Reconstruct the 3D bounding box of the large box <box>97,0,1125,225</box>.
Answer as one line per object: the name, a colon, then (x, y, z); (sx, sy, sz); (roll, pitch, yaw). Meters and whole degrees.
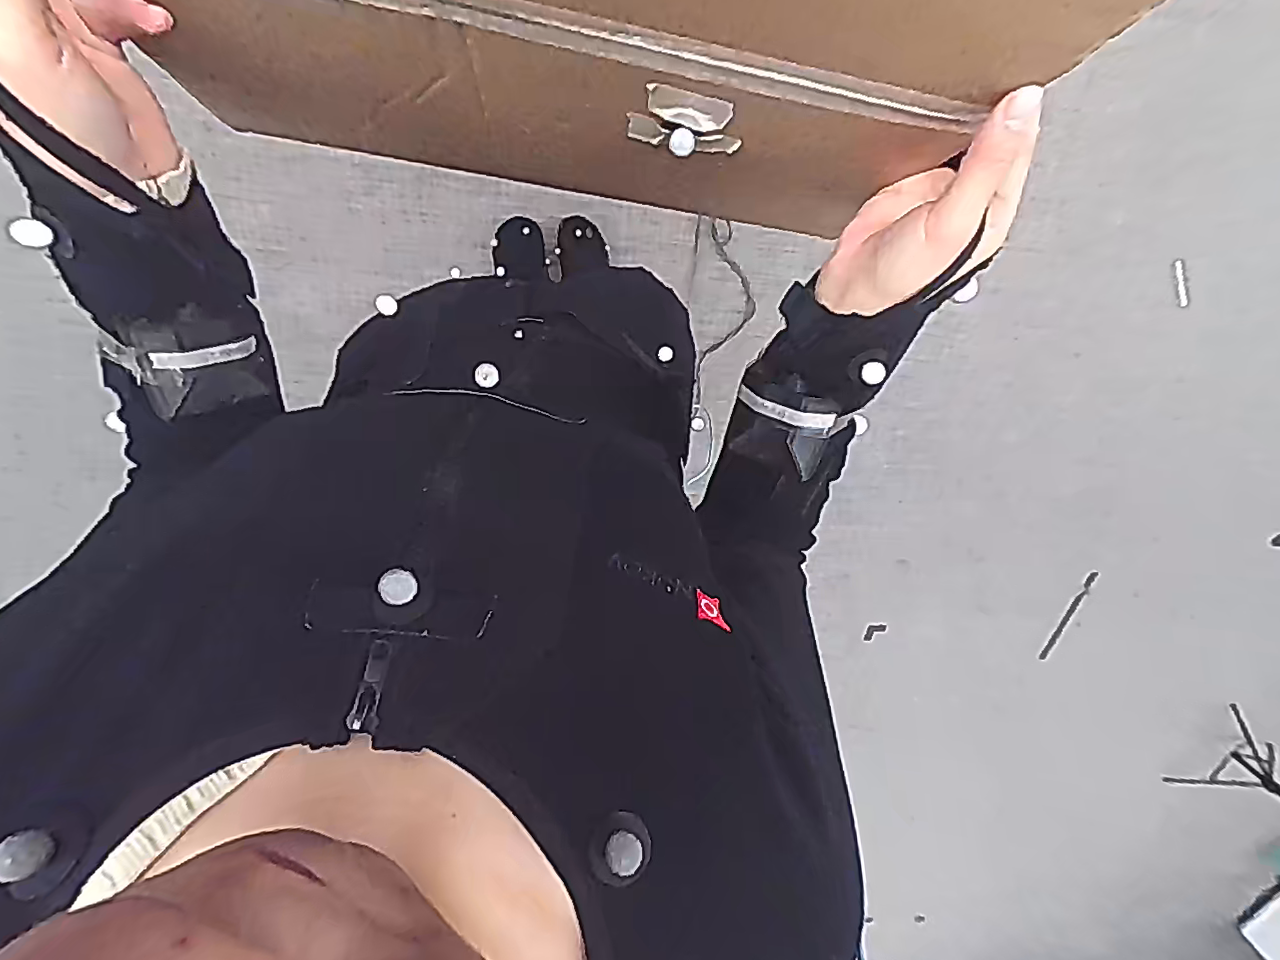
large box: (-0.022, -0.340, 0.209); (0.408, 0.320, 0.320); (5, 95, -8)
